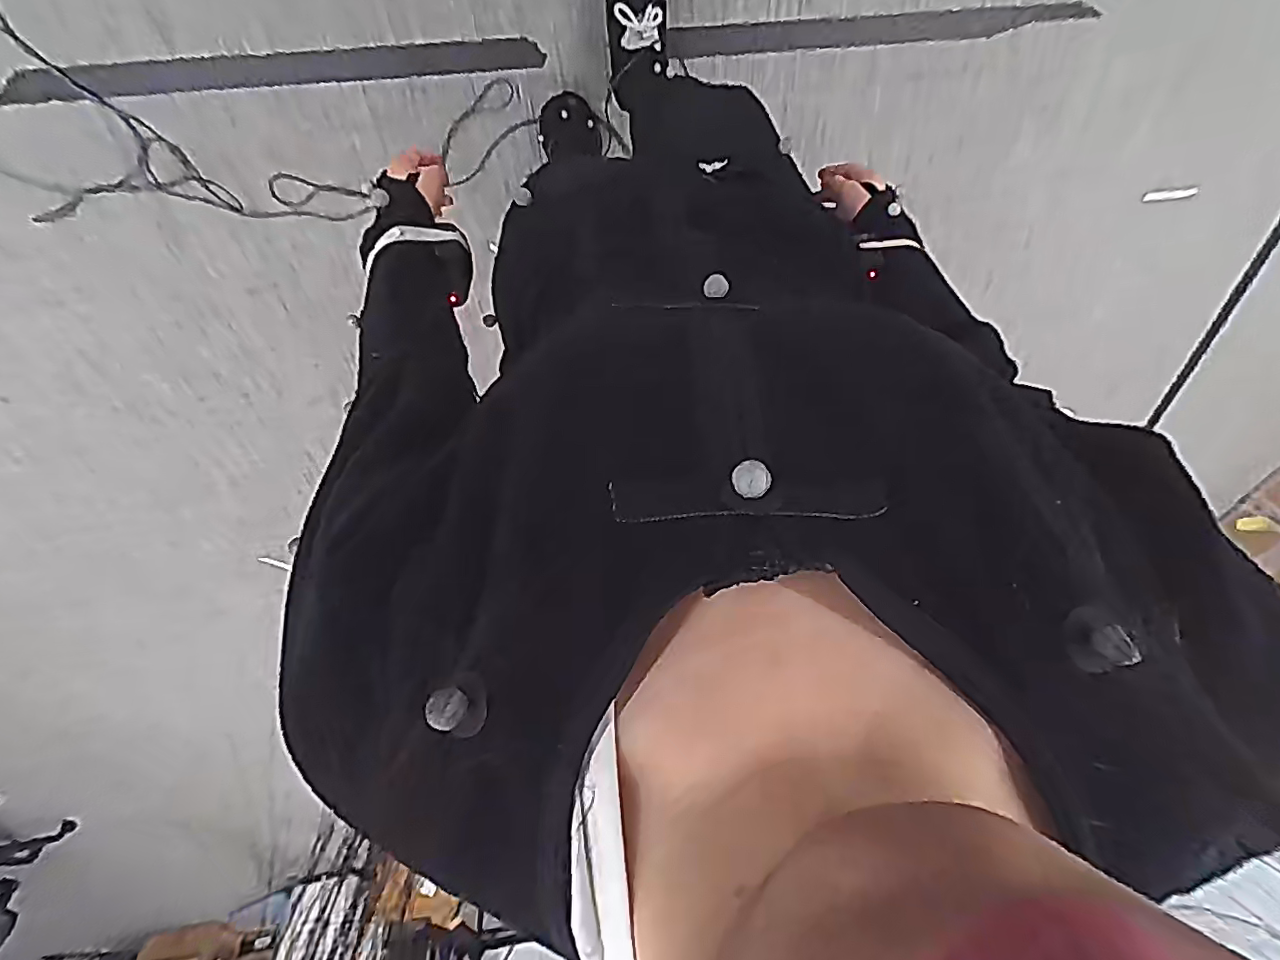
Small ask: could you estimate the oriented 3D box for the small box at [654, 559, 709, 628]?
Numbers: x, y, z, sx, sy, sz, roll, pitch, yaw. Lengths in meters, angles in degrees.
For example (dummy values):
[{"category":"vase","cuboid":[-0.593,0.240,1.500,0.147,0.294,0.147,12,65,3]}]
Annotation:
[{"category":"small box","cuboid":[0.158,0.434,2.078,0.168,0.176,0.179,-16,130,1]}]
